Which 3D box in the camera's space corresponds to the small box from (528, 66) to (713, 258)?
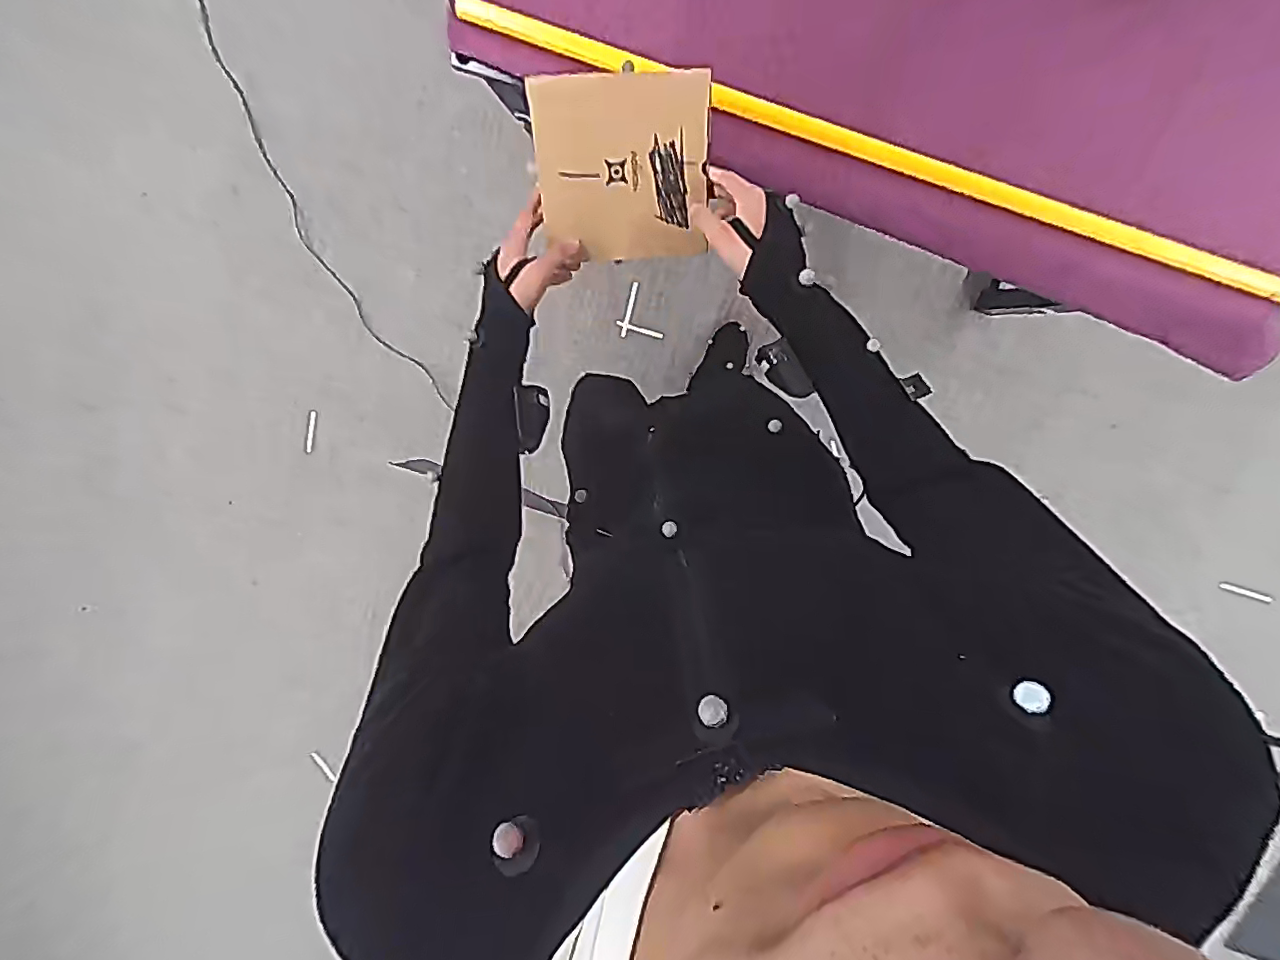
[{"bbox_3d":[-0.025,-0.353,0.606,0.179,0.176,0.168,-5,121,-4],"label":"small box"}]
